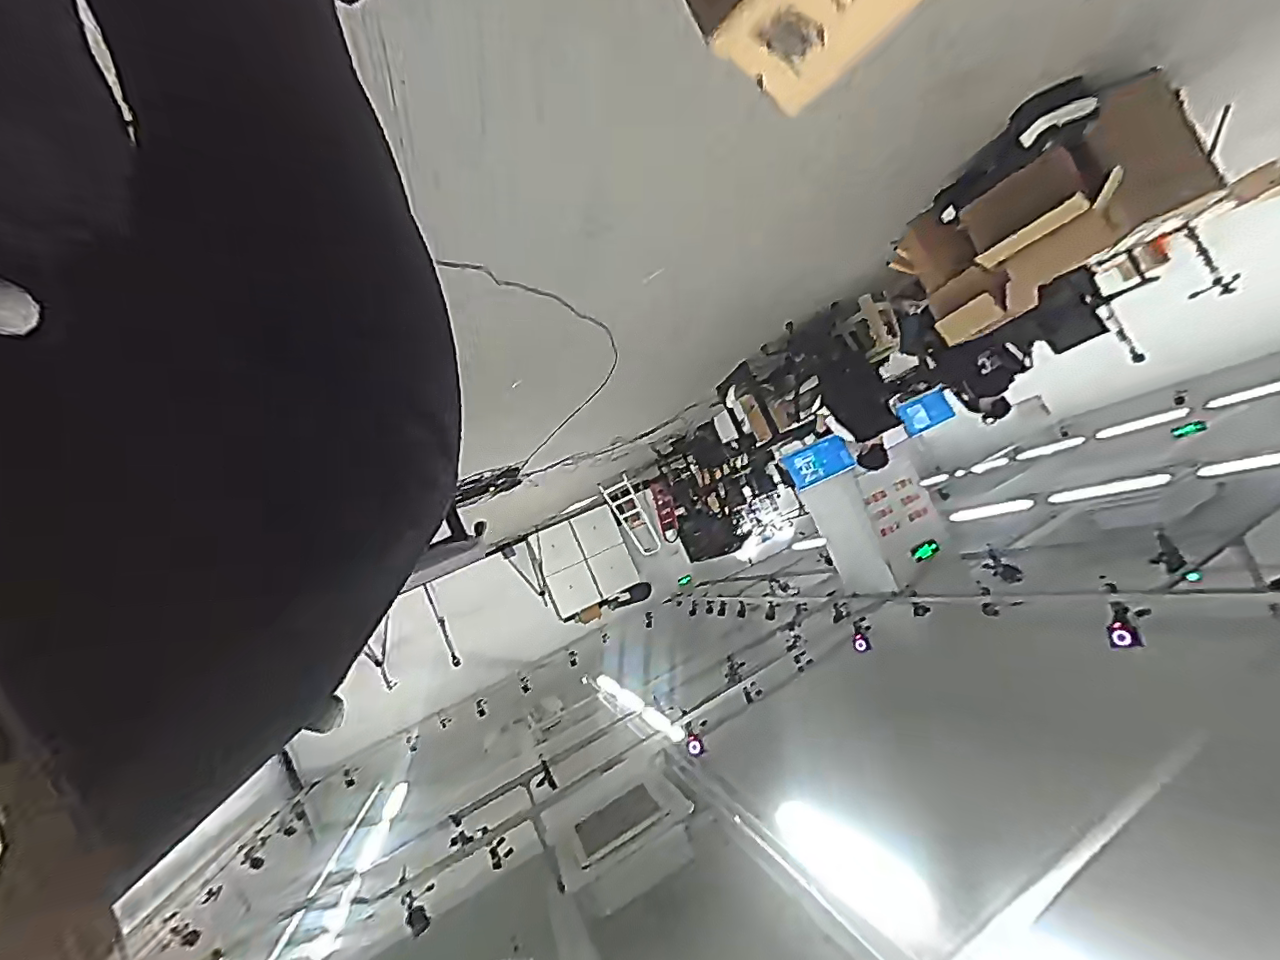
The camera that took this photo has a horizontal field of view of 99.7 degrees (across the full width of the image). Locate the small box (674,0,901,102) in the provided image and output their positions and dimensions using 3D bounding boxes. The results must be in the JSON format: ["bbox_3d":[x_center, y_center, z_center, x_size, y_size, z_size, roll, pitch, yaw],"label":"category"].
[{"bbox_3d":[0.114,-0.446,0.406,0.179,0.176,0.168,-28,174,42],"label":"small box"}]
